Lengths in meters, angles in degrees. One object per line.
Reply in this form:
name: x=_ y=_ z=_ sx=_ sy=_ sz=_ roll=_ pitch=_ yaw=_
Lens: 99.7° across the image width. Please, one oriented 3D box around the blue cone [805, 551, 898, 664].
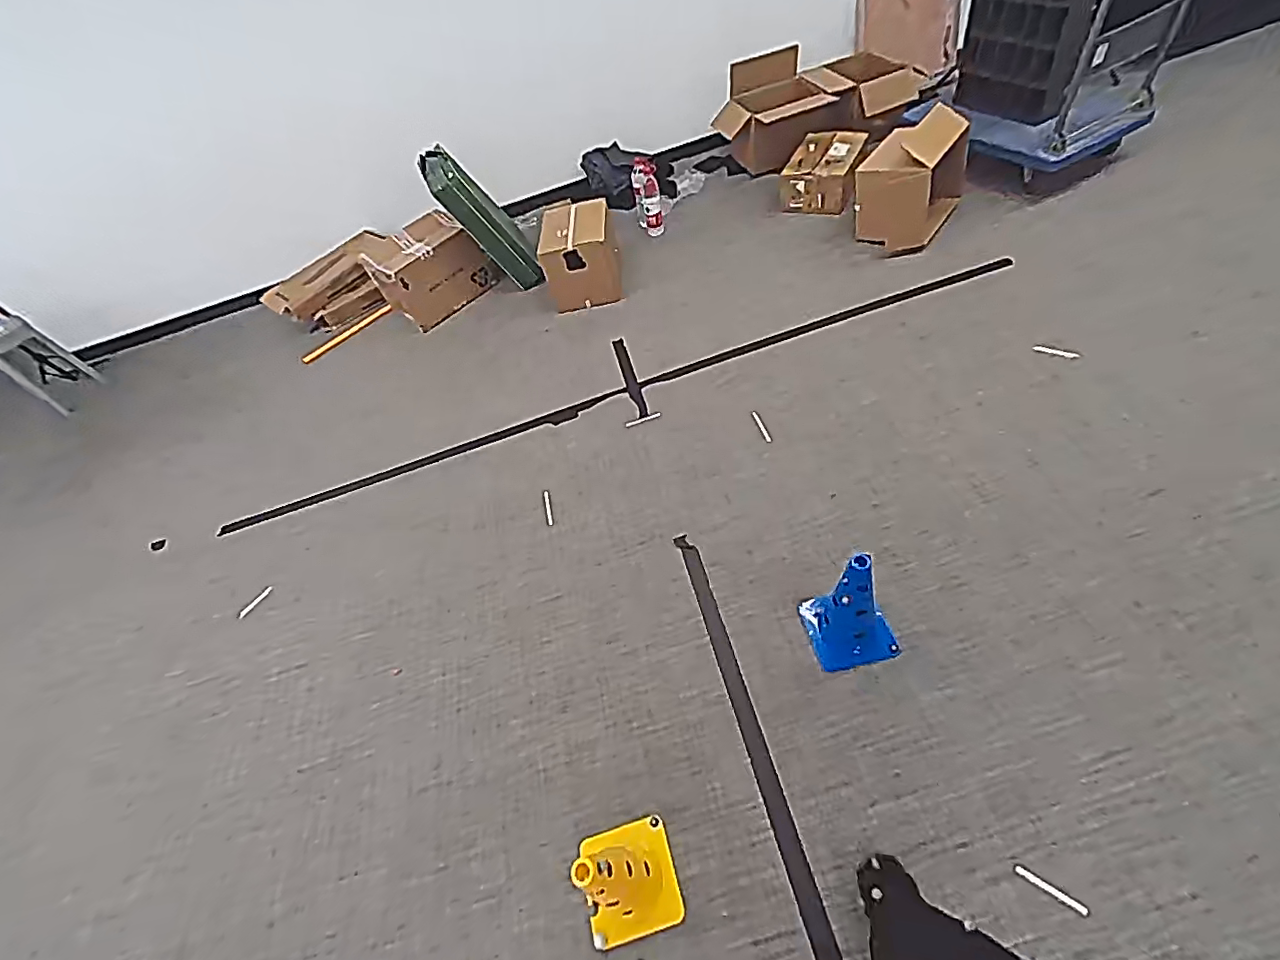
blue cone: x=0.513 y=0.280 z=1.289 sx=0.192 sy=0.380 sz=0.193 roll=-14 pitch=50 yaw=3
